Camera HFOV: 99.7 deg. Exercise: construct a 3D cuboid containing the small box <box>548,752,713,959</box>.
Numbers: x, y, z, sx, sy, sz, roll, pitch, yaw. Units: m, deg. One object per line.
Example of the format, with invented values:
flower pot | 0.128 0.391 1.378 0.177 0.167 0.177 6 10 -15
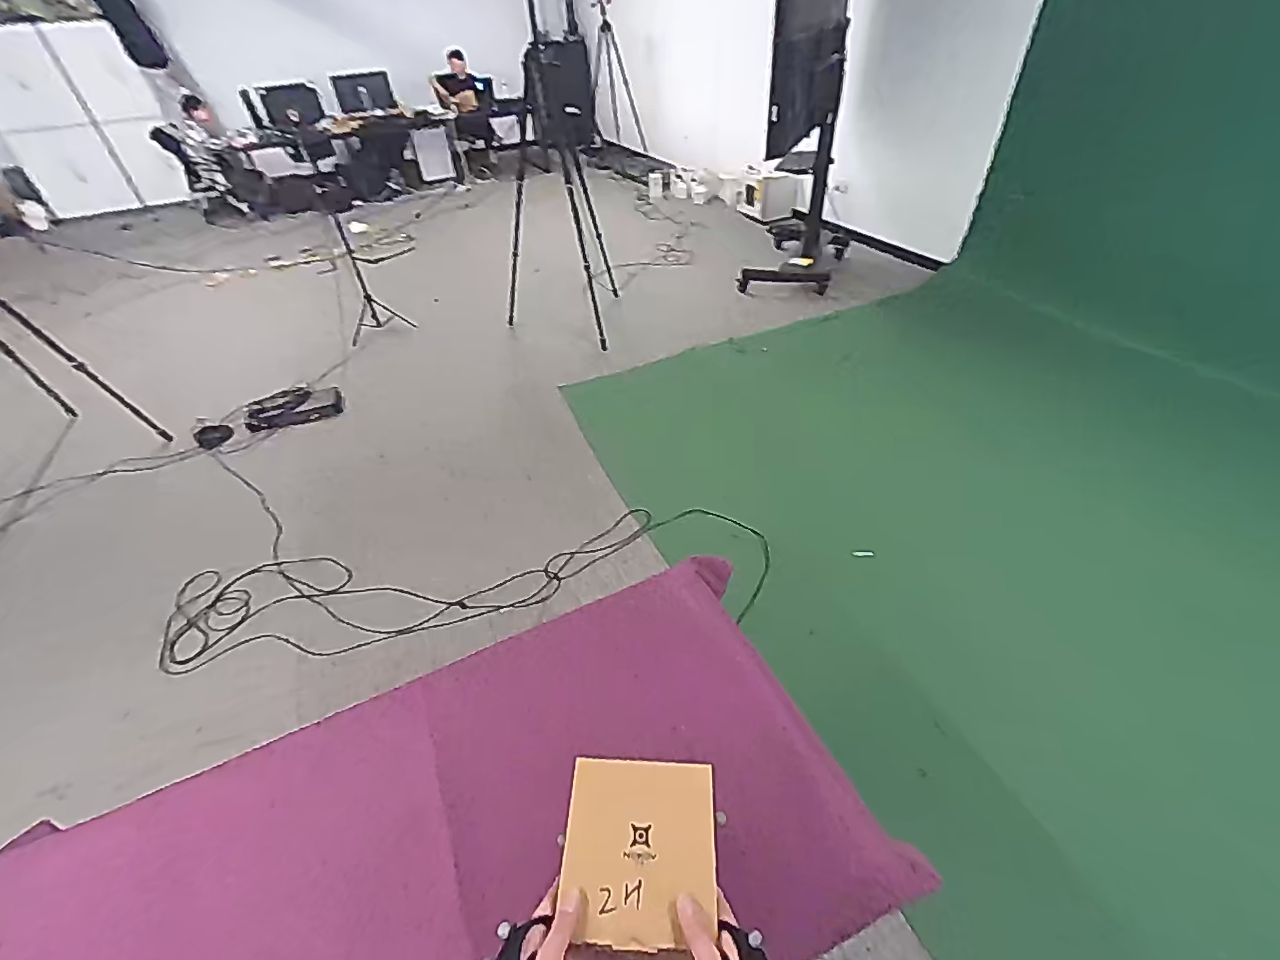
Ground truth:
small box | -0.002 0.451 0.641 0.168 0.176 0.179 2 43 5
